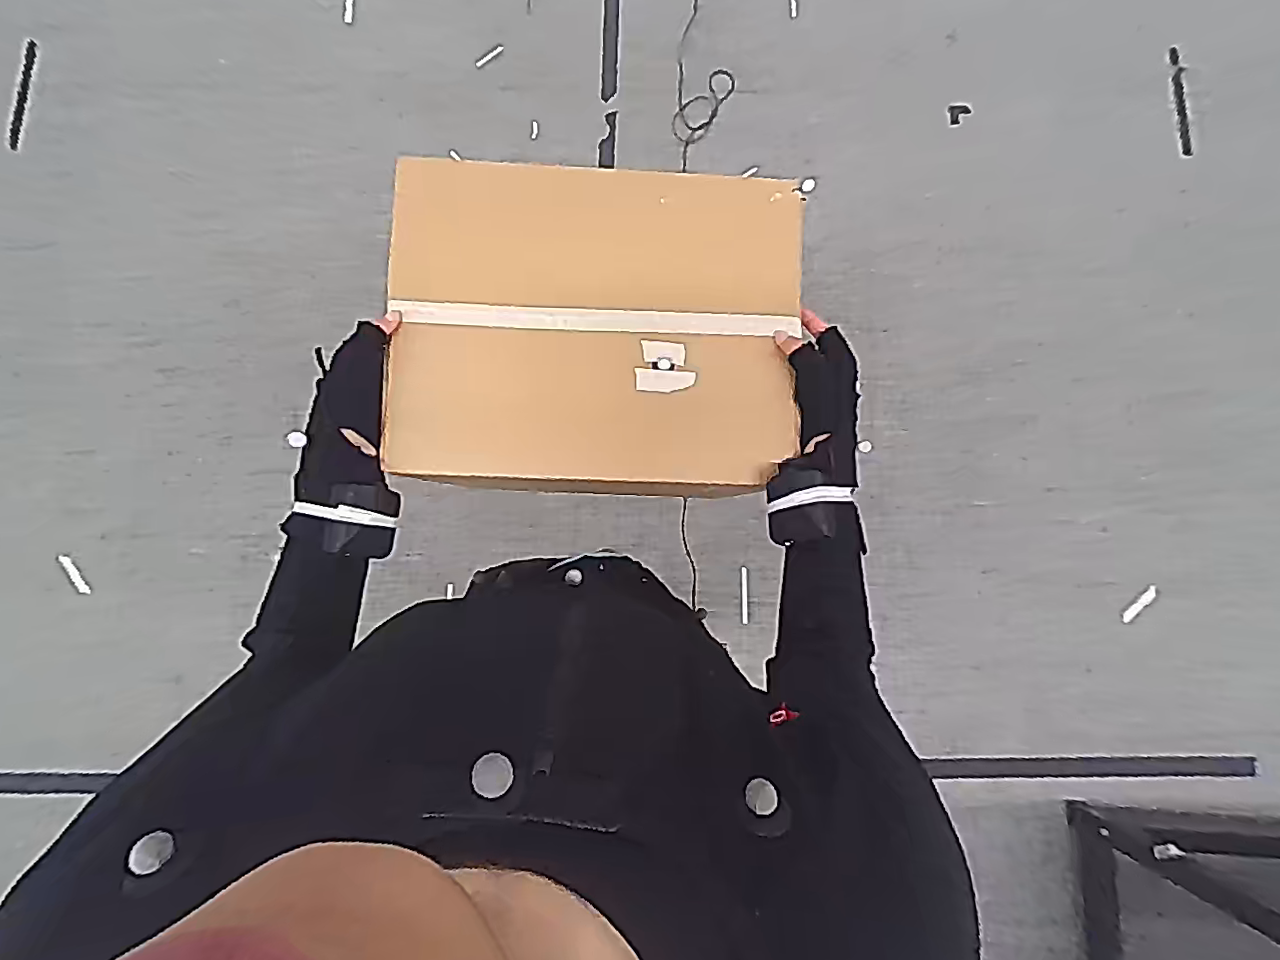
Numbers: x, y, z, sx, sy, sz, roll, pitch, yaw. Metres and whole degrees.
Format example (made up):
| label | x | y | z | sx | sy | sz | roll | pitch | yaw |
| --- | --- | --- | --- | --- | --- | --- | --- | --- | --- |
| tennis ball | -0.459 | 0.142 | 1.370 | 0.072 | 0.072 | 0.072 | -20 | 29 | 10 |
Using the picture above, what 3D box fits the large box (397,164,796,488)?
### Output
| label | x | y | z | sx | sy | sz | roll | pitch | yaw |
| --- | --- | --- | --- | --- | --- | --- | --- | --- | --- |
| large box | -0.048 | -0.153 | 0.695 | 0.408 | 0.320 | 0.320 | 2 | 87 | -3 |
